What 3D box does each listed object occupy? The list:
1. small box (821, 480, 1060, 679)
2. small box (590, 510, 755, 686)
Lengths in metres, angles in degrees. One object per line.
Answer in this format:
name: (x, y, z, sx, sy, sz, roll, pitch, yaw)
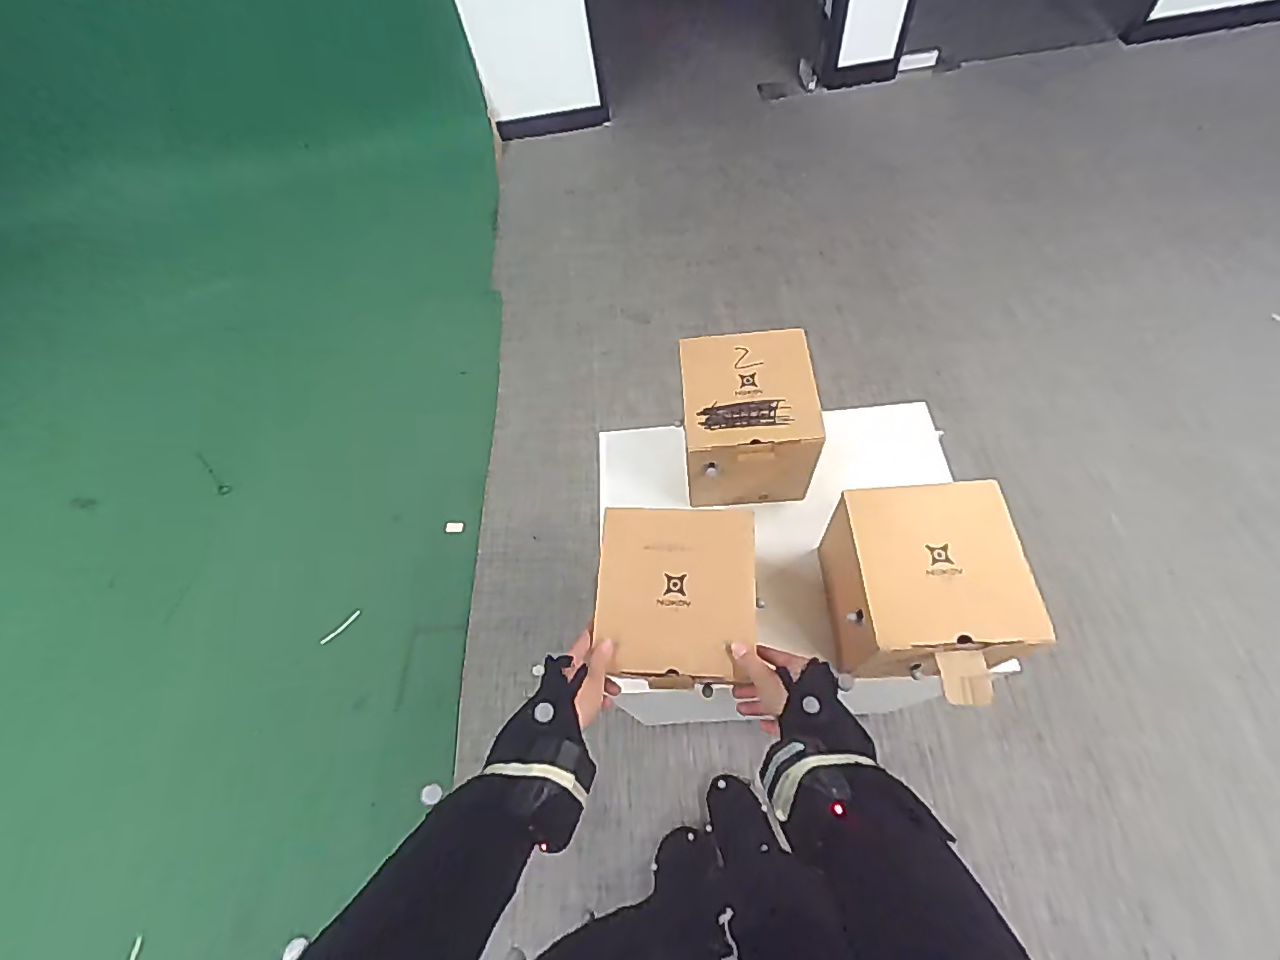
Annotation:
small box: (0.316, 0.120, 0.619, 0.168, 0.176, 0.179, -5, 60, 5)
small box: (0.044, 0.143, 0.628, 0.168, 0.176, 0.179, 0, 68, 6)
